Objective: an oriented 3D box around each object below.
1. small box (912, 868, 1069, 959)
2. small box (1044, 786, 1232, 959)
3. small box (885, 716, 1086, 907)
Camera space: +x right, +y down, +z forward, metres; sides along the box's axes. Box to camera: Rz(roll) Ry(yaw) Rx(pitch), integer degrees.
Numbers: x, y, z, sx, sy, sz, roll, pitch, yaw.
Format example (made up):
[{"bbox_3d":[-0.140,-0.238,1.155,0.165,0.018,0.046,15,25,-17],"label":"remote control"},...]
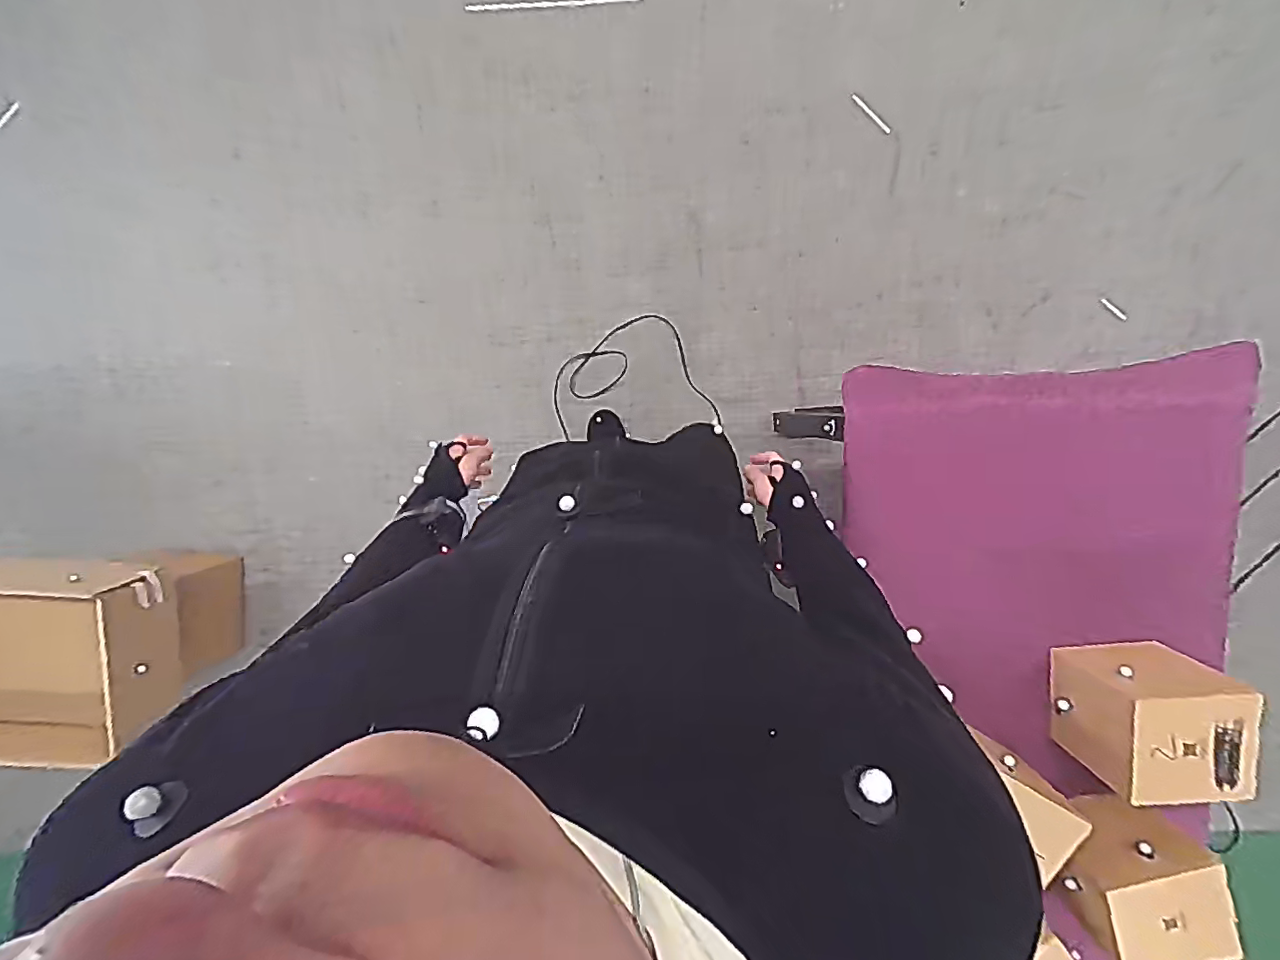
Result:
[{"bbox_3d":[0.606,0.790,0.910,0.168,0.176,0.179,-36,95,4],"label":"small box"},{"bbox_3d":[0.791,0.649,0.893,0.179,0.176,0.168,-17,97,3],"label":"small box"},{"bbox_3d":[0.538,0.516,0.872,0.179,0.176,0.168,31,97,-5],"label":"small box"}]
